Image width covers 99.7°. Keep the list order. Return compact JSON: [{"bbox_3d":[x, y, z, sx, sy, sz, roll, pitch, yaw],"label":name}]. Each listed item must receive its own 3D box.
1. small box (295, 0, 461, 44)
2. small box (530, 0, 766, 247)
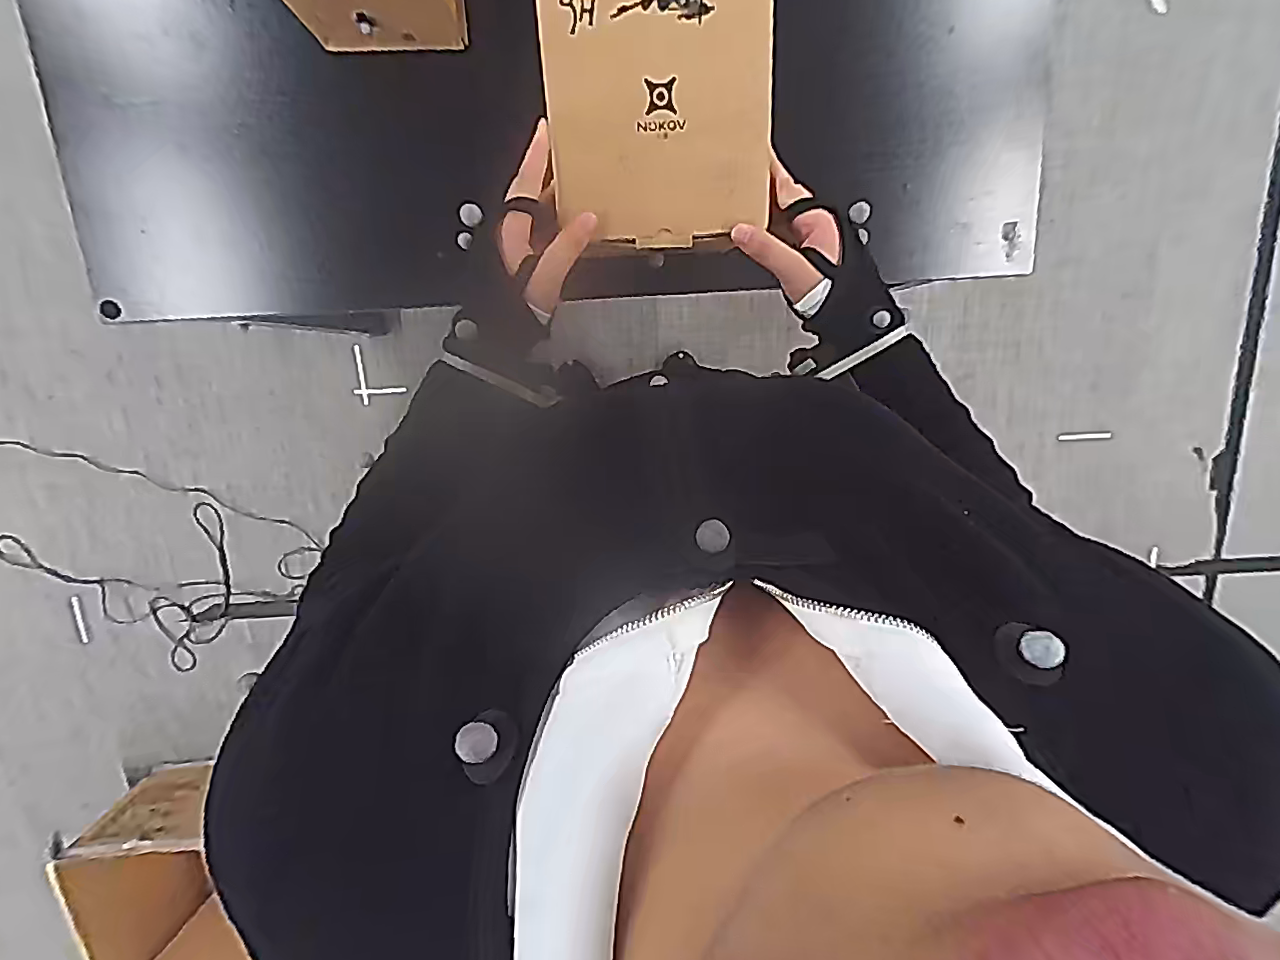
[{"bbox_3d":[-0.288,-0.581,0.537,0.168,0.176,0.179,-3,103,-2],"label":"small box"},{"bbox_3d":[0.006,-0.300,0.469,0.168,0.176,0.179,-4,110,-1],"label":"small box"}]
